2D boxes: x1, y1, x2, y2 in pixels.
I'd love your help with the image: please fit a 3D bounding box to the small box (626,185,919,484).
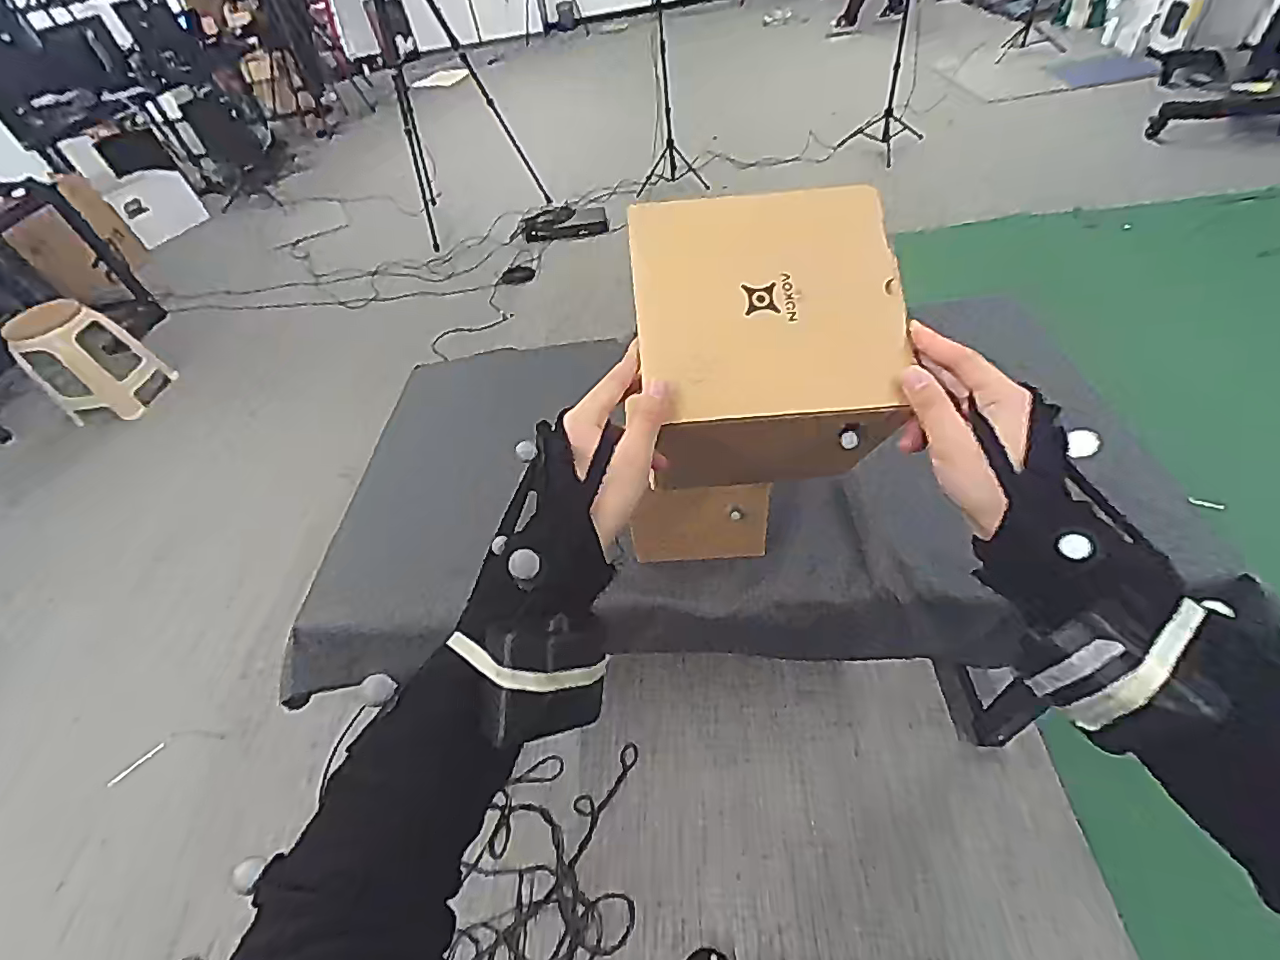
[{"bbox_3d":[0.085,-0.099,0.432,0.179,0.176,0.168,-4,74,0],"label":"small box"}]
